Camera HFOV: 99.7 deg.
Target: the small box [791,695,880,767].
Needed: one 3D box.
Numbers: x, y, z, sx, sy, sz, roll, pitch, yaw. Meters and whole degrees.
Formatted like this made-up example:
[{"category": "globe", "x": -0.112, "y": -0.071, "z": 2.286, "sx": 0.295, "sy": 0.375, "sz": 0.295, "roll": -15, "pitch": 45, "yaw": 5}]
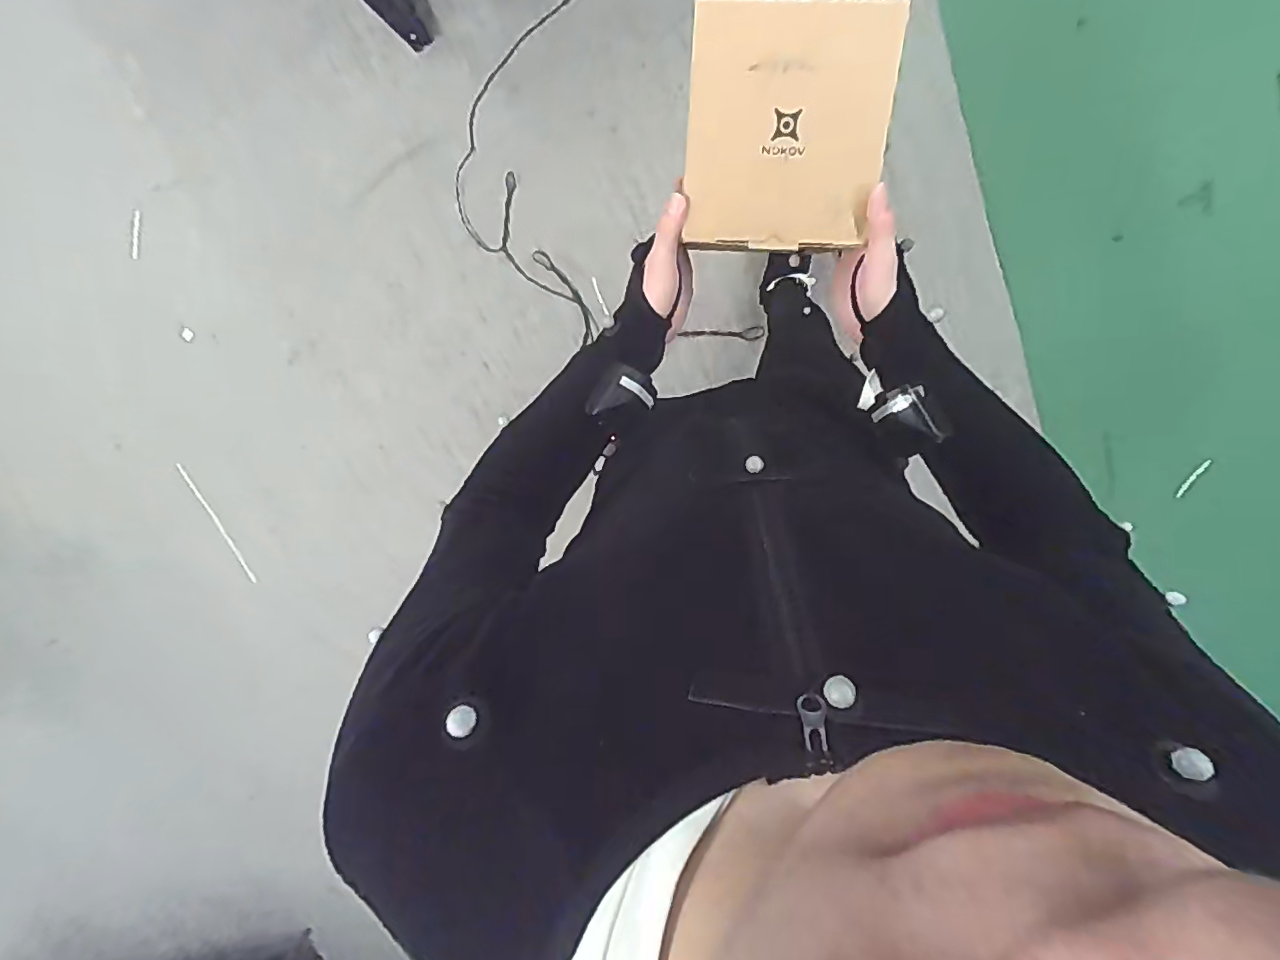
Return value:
[{"category": "small box", "x": 0.462, "y": 0.636, "z": 1.258, "sx": 0.168, "sy": 0.176, "sz": 0.179, "roll": -16, "pitch": 105, "yaw": 10}]
